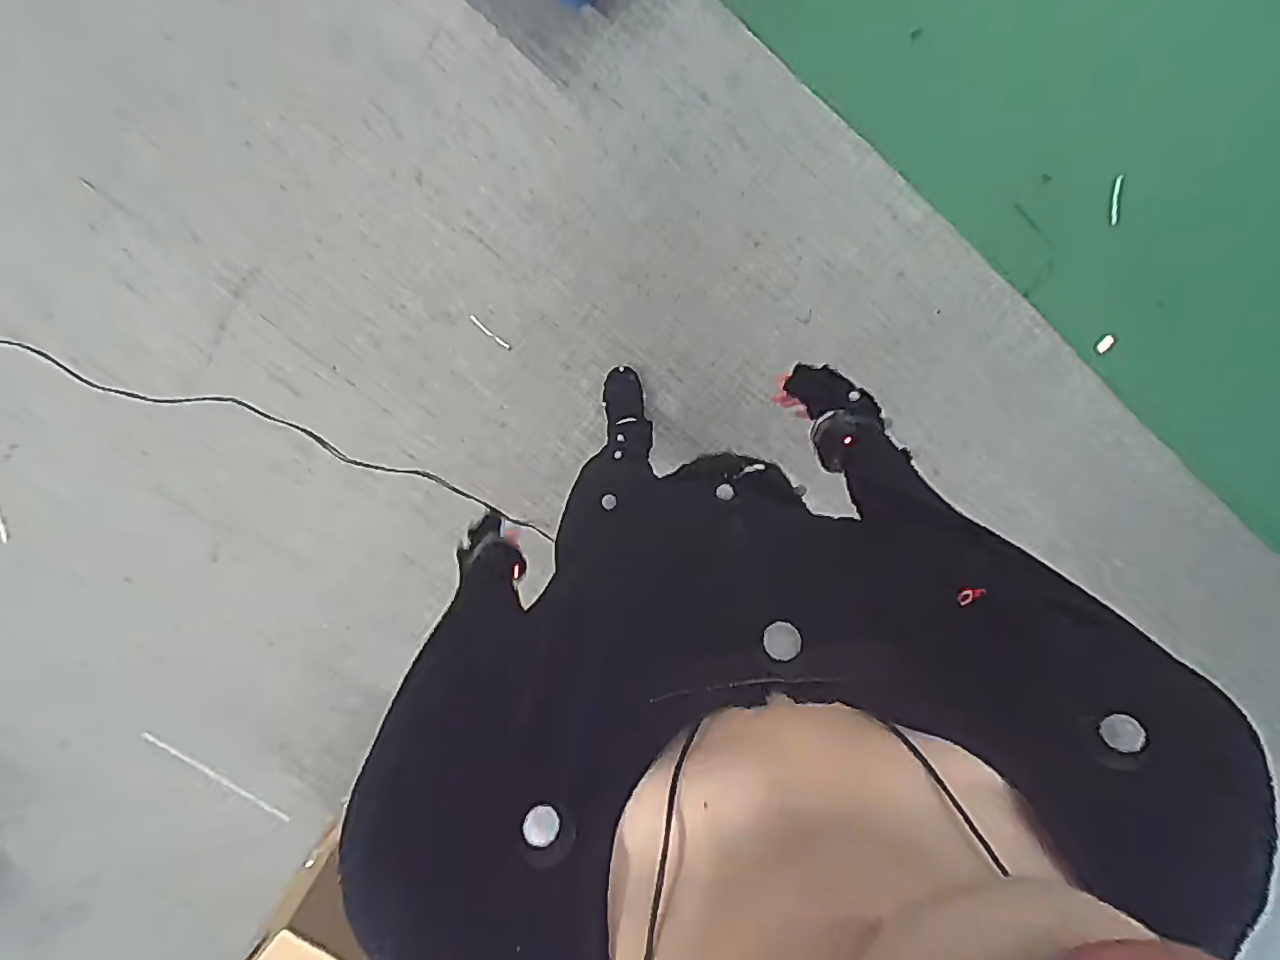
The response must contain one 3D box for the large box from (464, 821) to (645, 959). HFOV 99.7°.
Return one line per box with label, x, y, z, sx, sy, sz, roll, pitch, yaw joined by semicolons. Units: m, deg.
large box;-0.238;1.294;1.549;0.408;0.320;0.320;40;96;-9
